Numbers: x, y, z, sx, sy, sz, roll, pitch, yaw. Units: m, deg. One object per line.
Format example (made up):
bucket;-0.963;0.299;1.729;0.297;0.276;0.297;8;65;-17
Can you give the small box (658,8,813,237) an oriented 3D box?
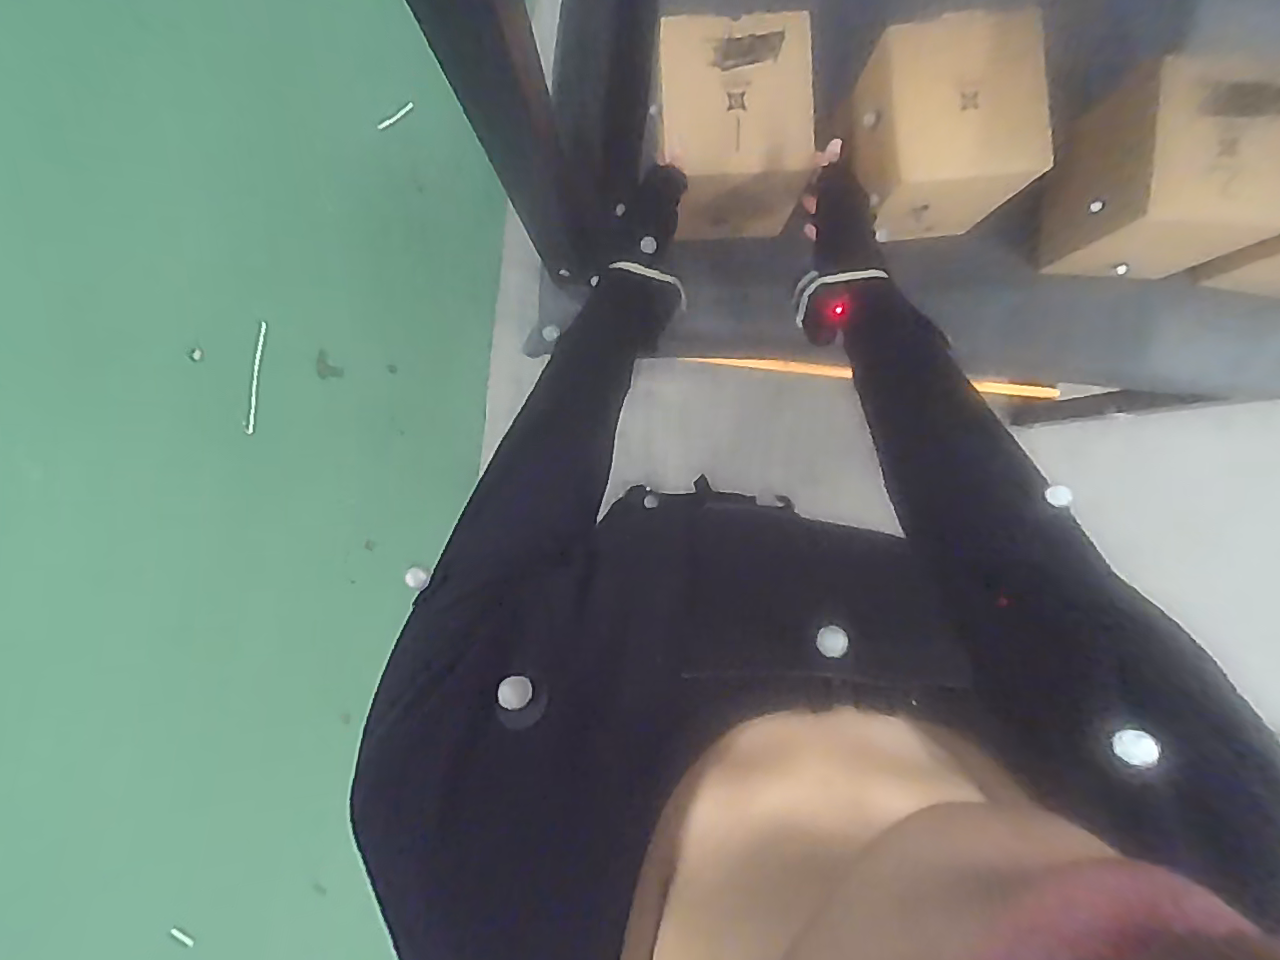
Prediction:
small box;0.107;-0.425;0.669;0.168;0.176;0.179;-2;91;2
